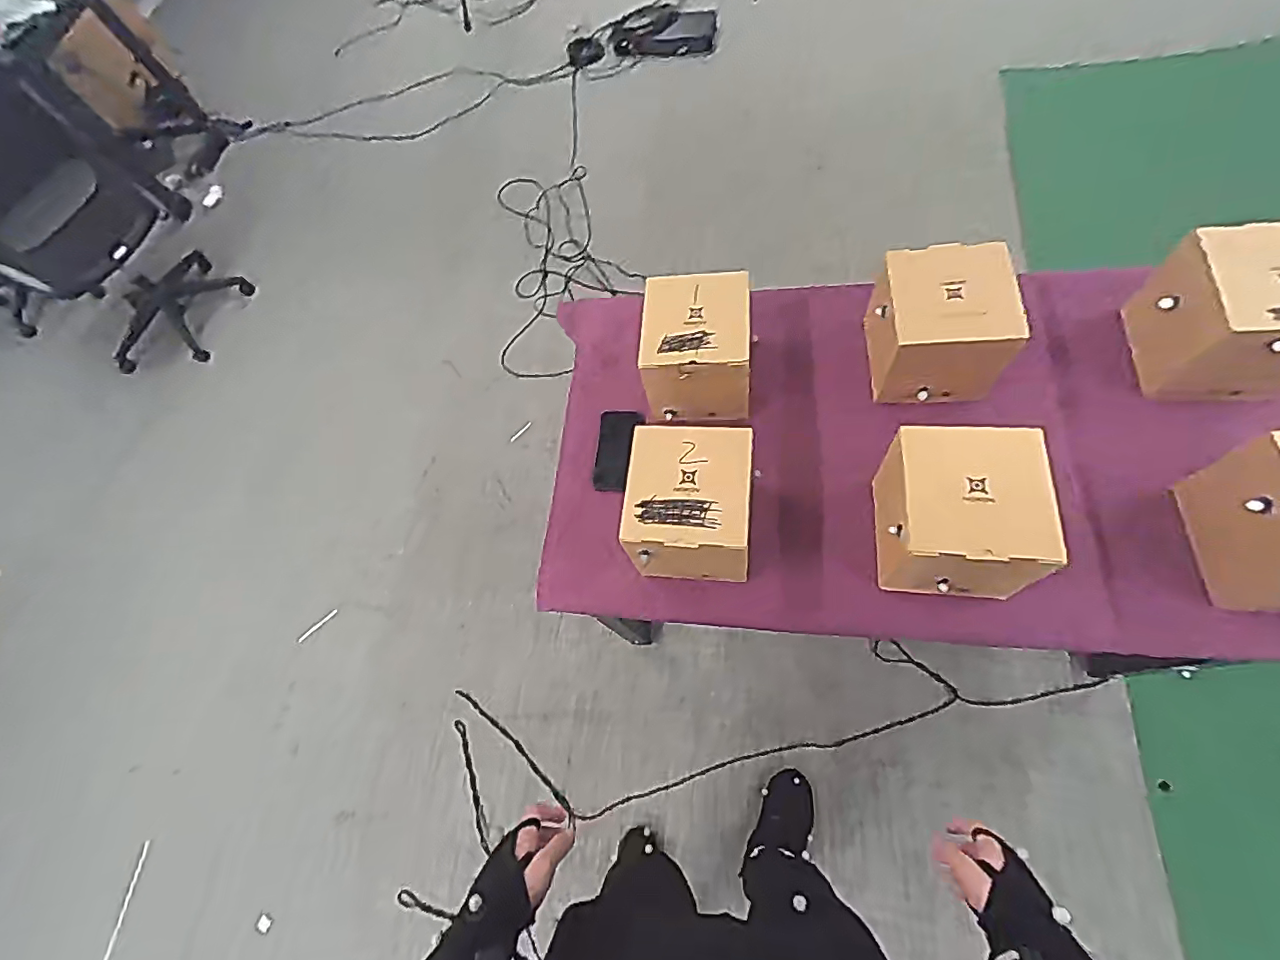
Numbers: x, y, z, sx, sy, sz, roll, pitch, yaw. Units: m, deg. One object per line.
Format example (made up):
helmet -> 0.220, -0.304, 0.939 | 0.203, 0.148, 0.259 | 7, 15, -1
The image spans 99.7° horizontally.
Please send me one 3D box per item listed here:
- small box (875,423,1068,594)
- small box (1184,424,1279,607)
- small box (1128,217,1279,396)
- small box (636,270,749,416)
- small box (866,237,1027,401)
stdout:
small box -> 0.418, 0.042, 0.718 | 0.168, 0.176, 0.179 | 2, 66, 12
small box -> 0.805, 0.047, 0.632 | 0.168, 0.176, 0.179 | -1, 67, 13
small box -> 0.835, -0.237, 0.754 | 0.168, 0.176, 0.179 | 1, 67, 13
small box -> 0.096, -0.216, 0.896 | 0.168, 0.176, 0.179 | 0, 66, 11
small box -> 0.455, -0.240, 0.835 | 0.168, 0.176, 0.179 | -1, 67, 12
